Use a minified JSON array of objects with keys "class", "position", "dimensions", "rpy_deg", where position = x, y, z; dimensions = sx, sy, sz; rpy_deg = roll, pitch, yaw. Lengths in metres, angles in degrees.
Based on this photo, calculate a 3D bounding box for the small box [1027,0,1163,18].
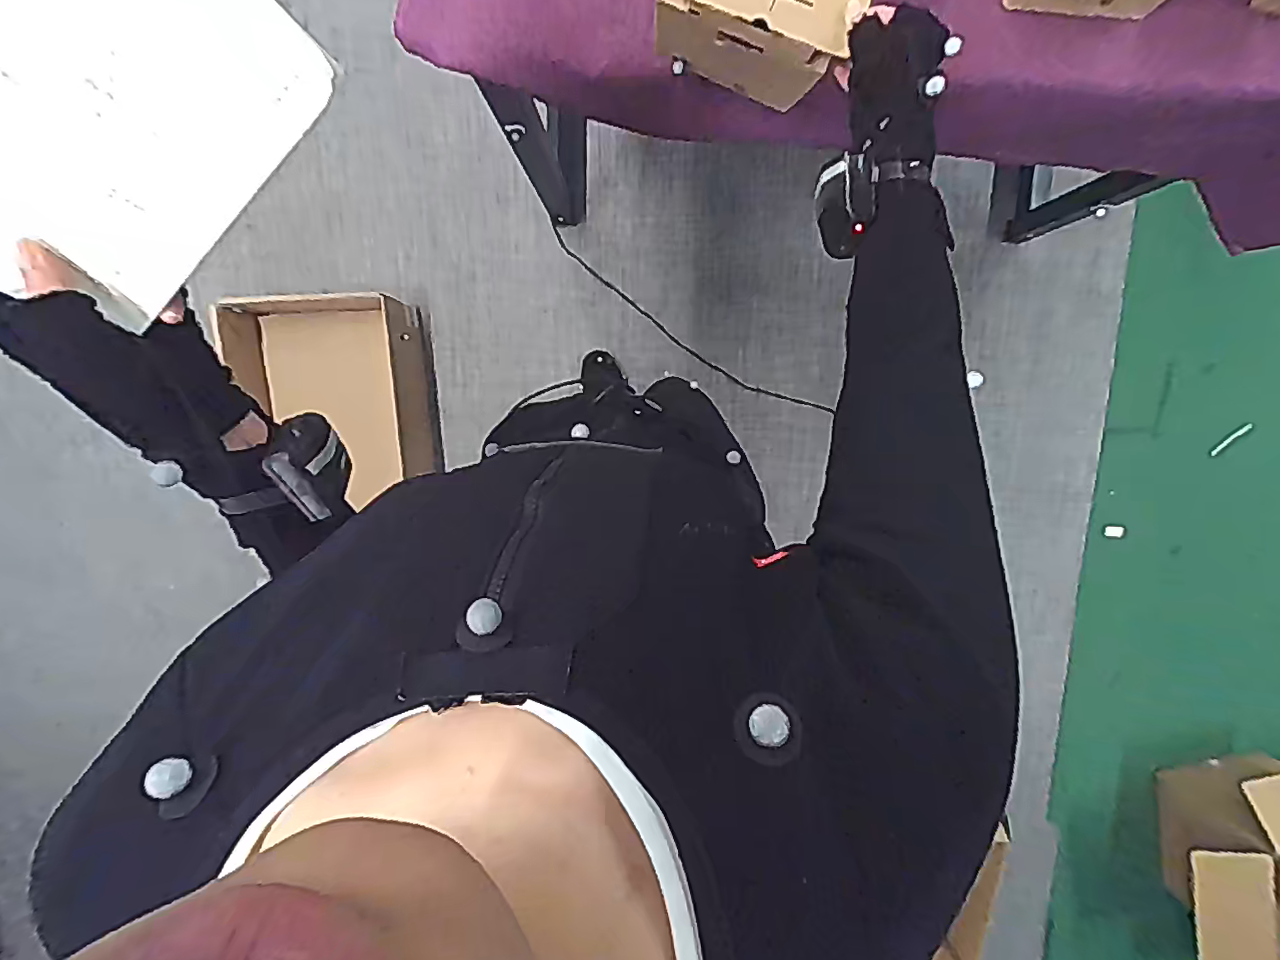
[{"class":"small box","position":[0.514,-0.612,0.539],"dimensions":[0.168,0.176,0.179],"rpy_deg":[5,100,0]}]

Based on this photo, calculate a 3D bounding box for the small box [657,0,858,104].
[{"class":"small box","position":[0.122,-0.493,0.509],"dimensions":[0.168,0.176,0.179],"rpy_deg":[19,112,-8]}]
